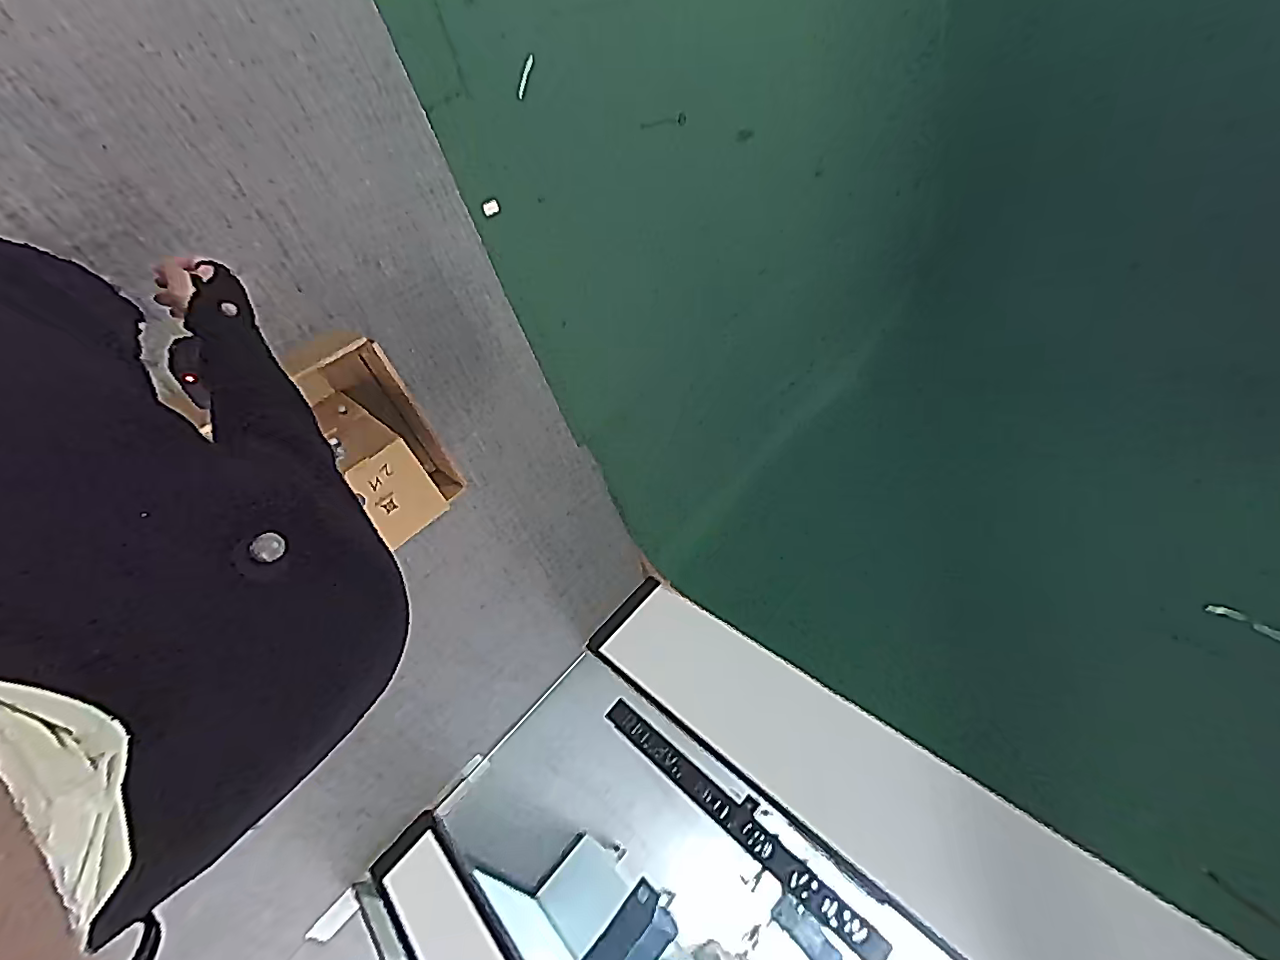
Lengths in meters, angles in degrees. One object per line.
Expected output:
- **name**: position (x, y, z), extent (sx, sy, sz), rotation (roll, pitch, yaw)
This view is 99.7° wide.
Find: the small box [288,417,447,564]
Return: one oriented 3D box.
- **small box**: position (-0.493, 0.013, 0.984), extent (0.168, 0.176, 0.179), rotation (-42, 135, -24)
